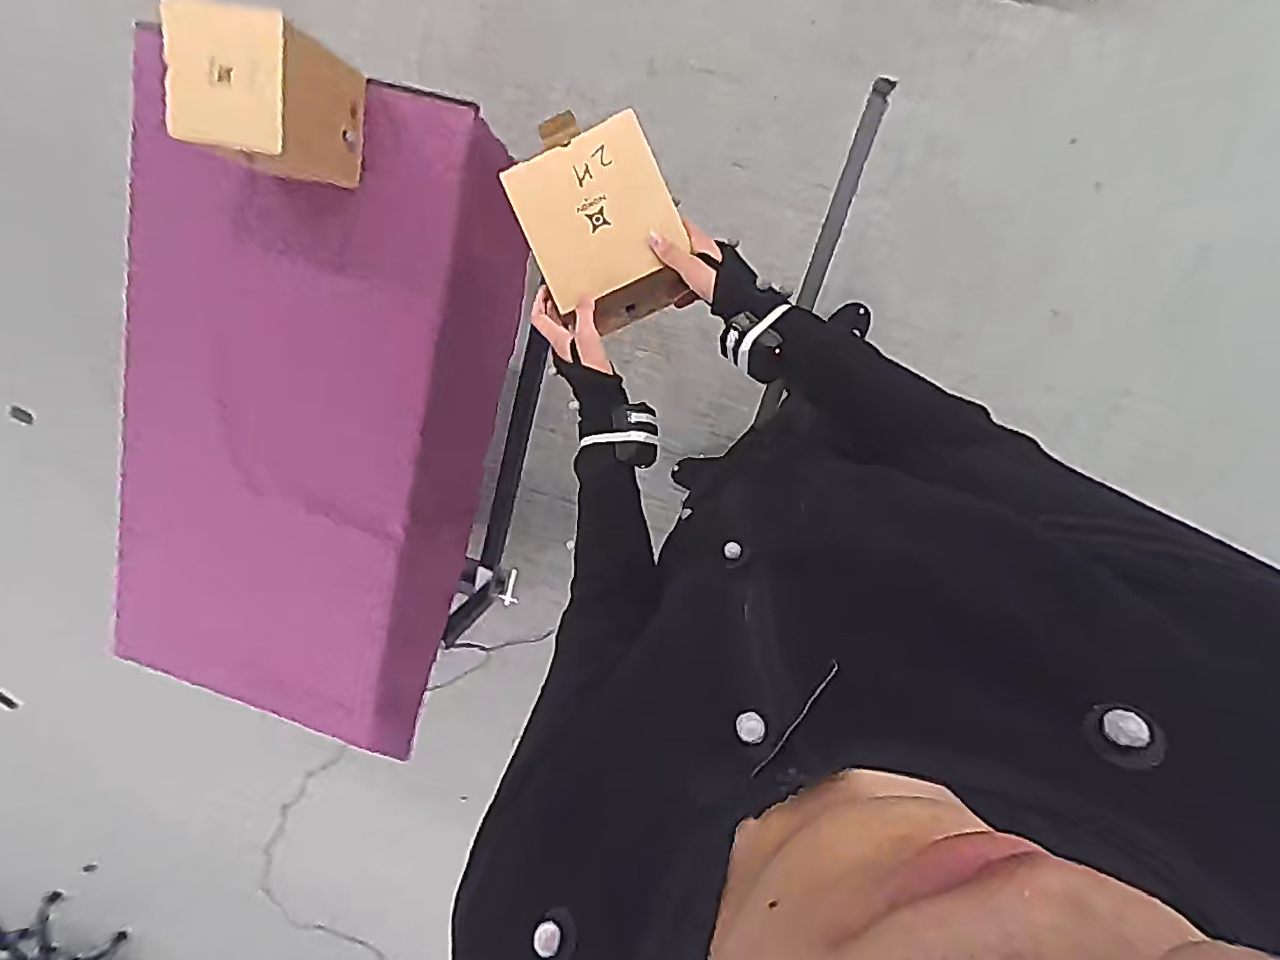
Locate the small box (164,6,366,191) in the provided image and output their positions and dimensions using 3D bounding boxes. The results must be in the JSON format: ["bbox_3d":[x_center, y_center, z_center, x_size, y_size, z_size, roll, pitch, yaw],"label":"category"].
[{"bbox_3d":[-0.538,-0.541,0.790,0.179,0.176,0.168,13,105,7],"label":"small box"}]

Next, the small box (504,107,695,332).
[{"bbox_3d":[-0.040,-0.300,0.673,0.168,0.176,0.179,-23,91,3],"label":"small box"}]
